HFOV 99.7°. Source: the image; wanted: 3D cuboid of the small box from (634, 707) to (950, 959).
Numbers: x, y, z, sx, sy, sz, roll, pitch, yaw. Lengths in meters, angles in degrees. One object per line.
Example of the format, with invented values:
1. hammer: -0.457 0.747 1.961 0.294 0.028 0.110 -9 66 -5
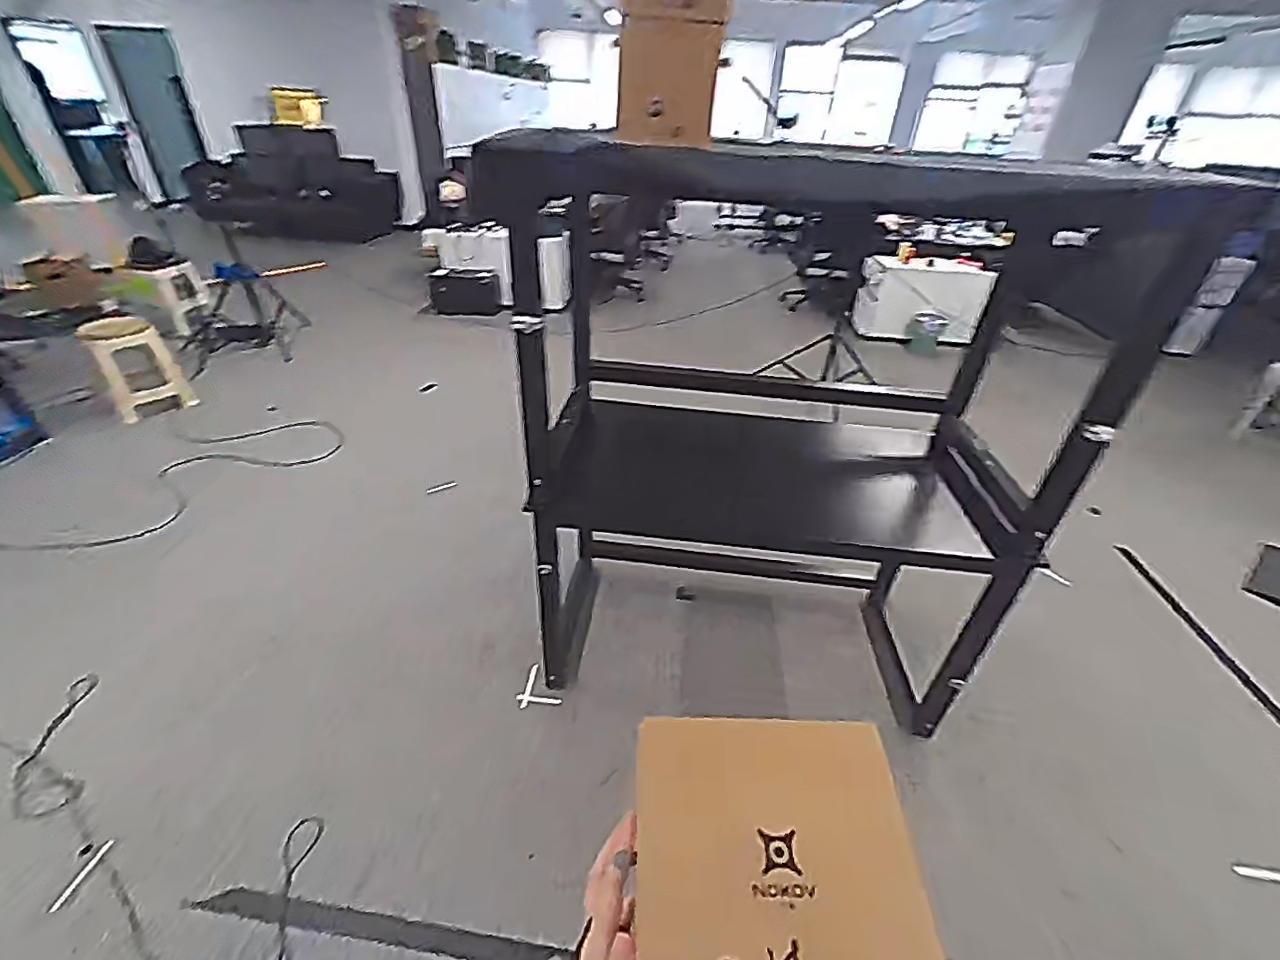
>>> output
1. small box: 0.080 0.279 0.370 0.168 0.176 0.179 1 44 0

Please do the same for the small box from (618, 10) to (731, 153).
1. small box: 0.056 -0.661 0.911 0.168 0.176 0.179 7 33 3
